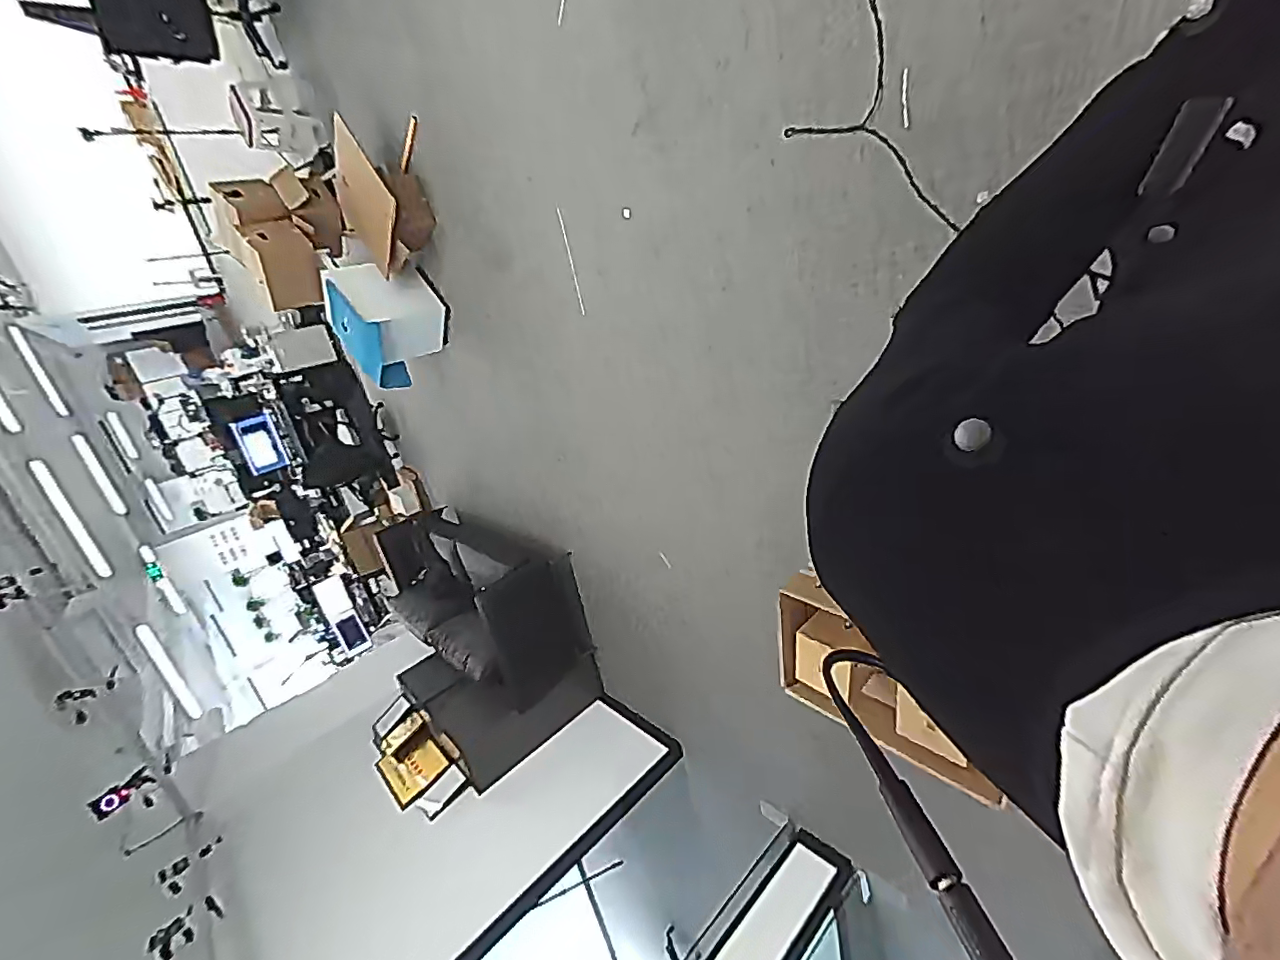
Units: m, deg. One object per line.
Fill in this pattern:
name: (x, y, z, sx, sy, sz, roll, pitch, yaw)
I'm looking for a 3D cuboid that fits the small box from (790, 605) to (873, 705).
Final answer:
small box: (0.548, 0.493, 1.543, 0.168, 0.176, 0.179, 19, 125, 44)
